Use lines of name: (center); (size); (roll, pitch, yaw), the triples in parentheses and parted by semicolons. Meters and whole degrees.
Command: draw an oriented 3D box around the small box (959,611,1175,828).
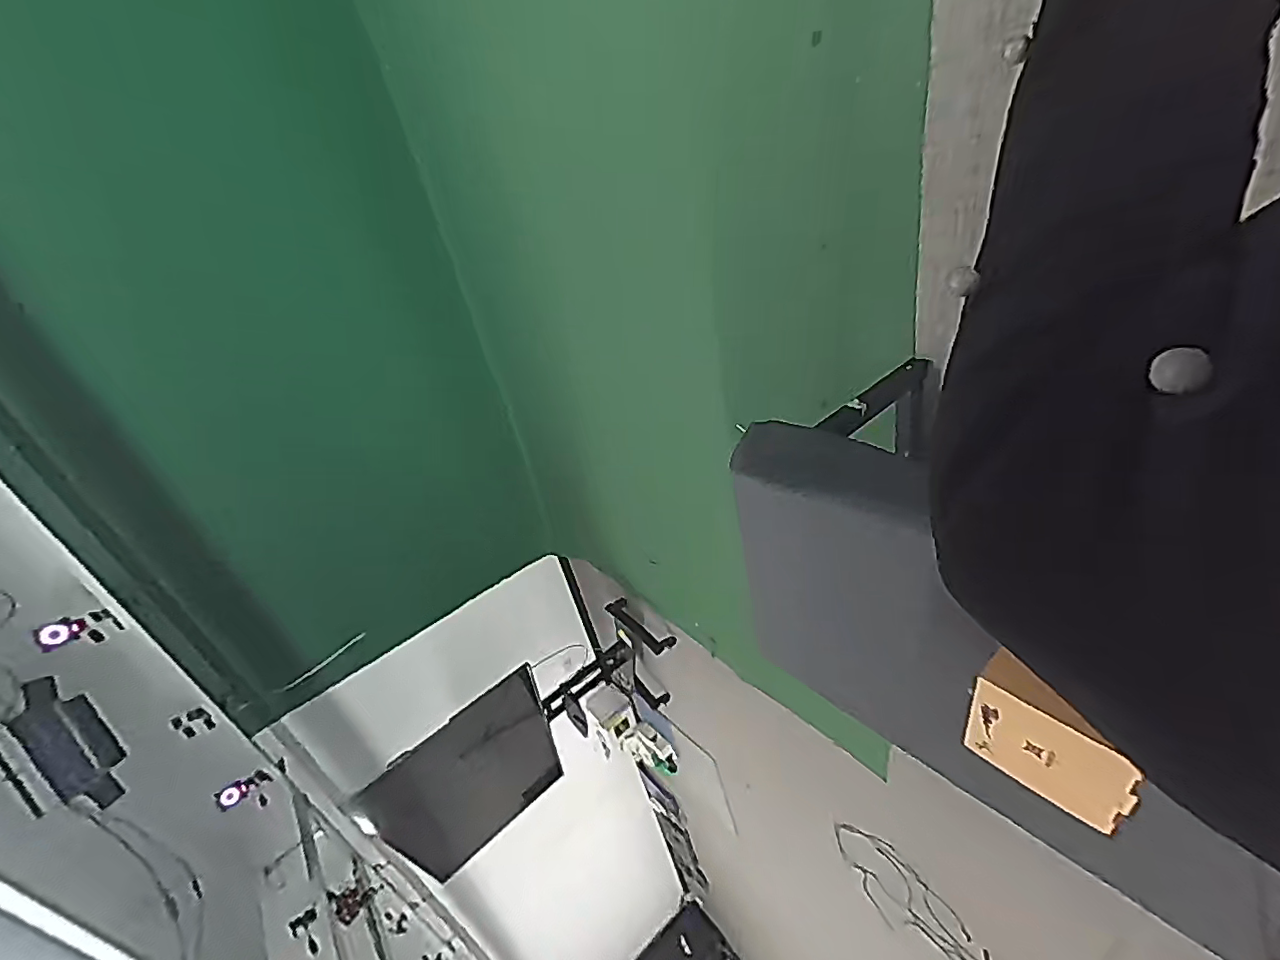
small box: (0.575, 0.312, 0.738); (0.179, 0.176, 0.168); (27, 140, 46)
